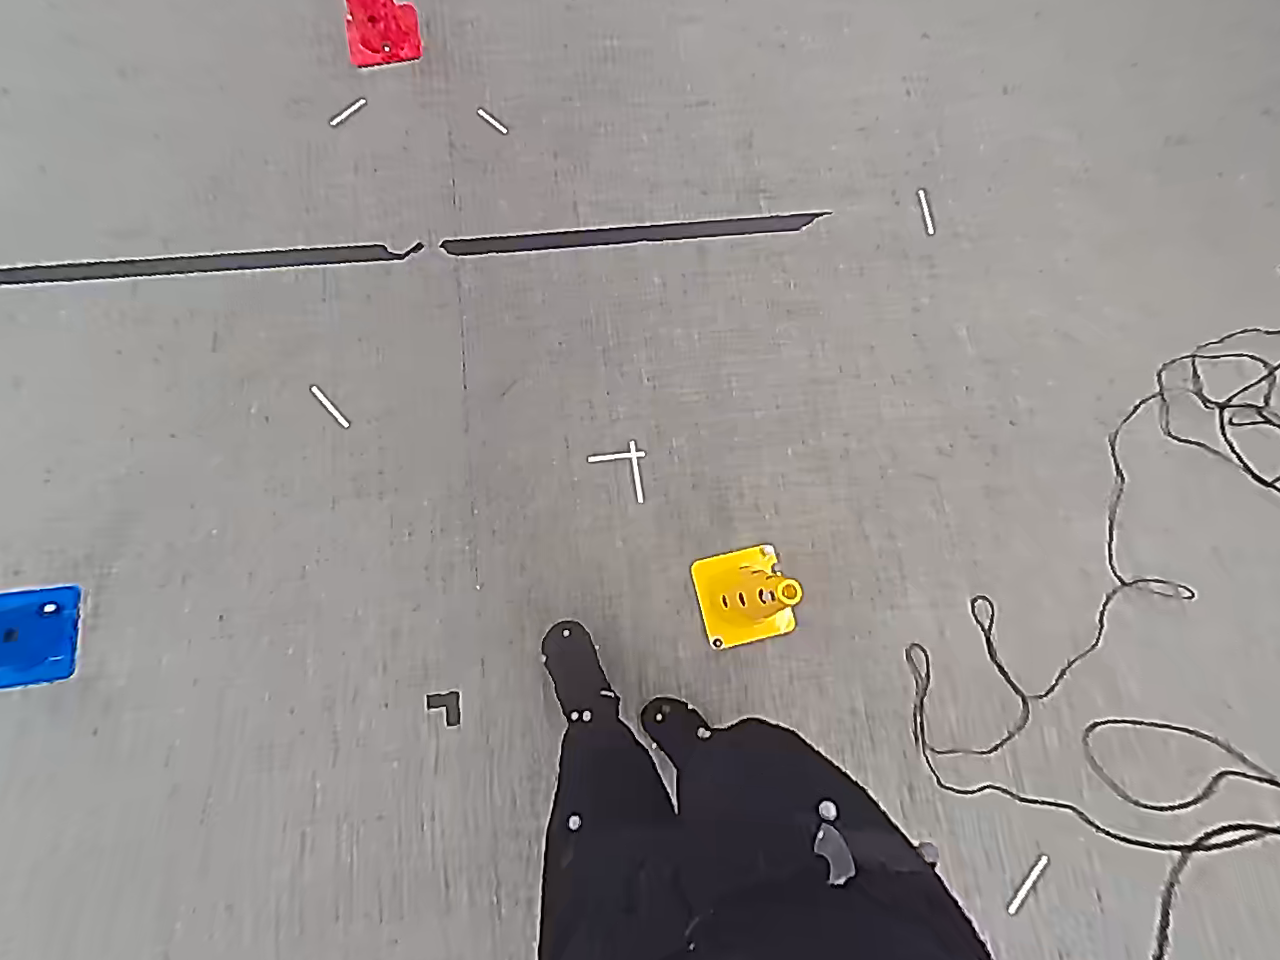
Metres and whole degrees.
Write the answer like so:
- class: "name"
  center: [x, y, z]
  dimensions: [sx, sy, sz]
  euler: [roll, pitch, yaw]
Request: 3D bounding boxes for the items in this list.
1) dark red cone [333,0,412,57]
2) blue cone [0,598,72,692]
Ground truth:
- class: "dark red cone"
  center: [-0.743, -1.308, 1.356]
  dimensions: [0.202, 0.394, 0.201]
  euler: [-14, 79, -5]
- class: "blue cone"
  center: [-1.306, 0.320, 0.992]
  dimensions: [0.193, 0.380, 0.192]
  euler: [-6, 78, -3]
